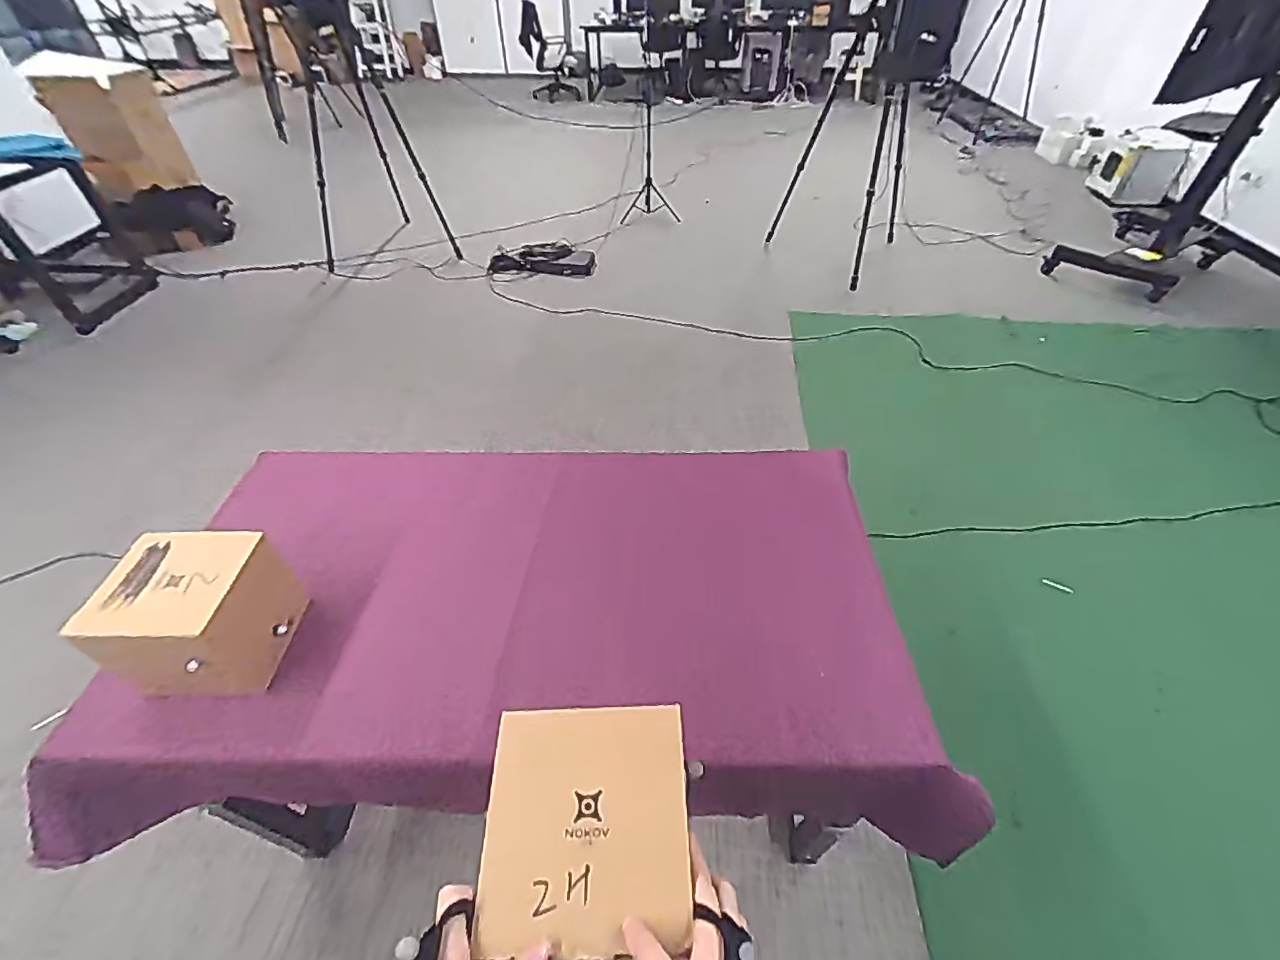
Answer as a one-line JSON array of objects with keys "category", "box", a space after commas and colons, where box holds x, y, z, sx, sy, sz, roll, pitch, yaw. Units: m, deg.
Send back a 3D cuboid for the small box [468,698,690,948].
[{"category": "small box", "box": [-0.042, 0.321, 0.506, 0.168, 0.176, 0.179, -3, 51, 2]}]
